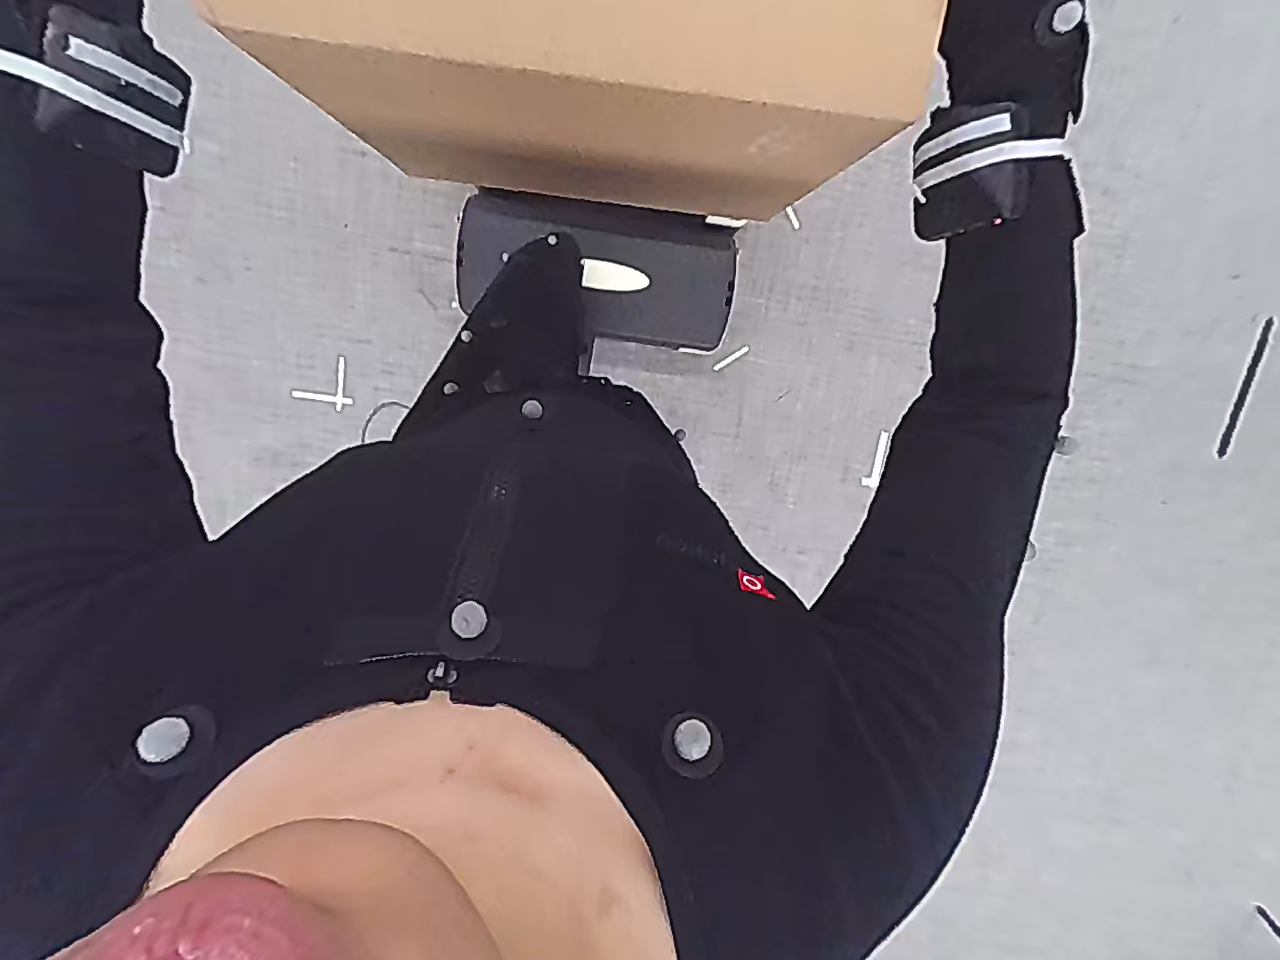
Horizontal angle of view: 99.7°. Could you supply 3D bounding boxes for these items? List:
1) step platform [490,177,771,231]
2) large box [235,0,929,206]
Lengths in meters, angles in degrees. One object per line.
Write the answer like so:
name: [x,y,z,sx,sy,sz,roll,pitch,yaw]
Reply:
step platform: [-0.012,-0.782,1.233,0.684,0.204,0.286,7,102,-5]
large box: [-0.028,-0.431,0.420,0.408,0.320,0.320,4,106,-5]
